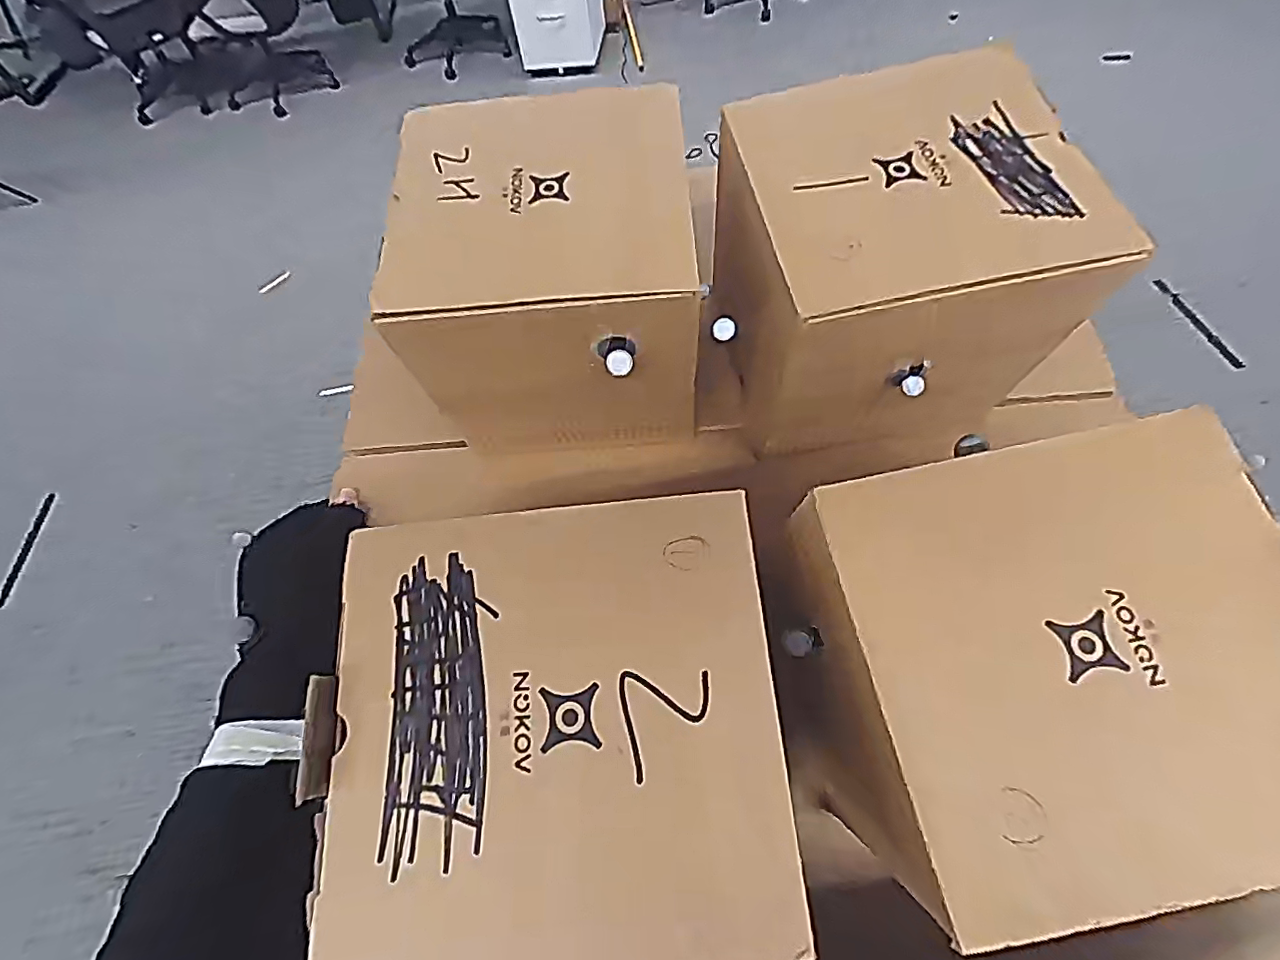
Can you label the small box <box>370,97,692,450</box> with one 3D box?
[{"bbox_3d":[-0.056,-0.132,0.391,0.179,0.176,0.168,-3,66,4],"label":"small box"}]
